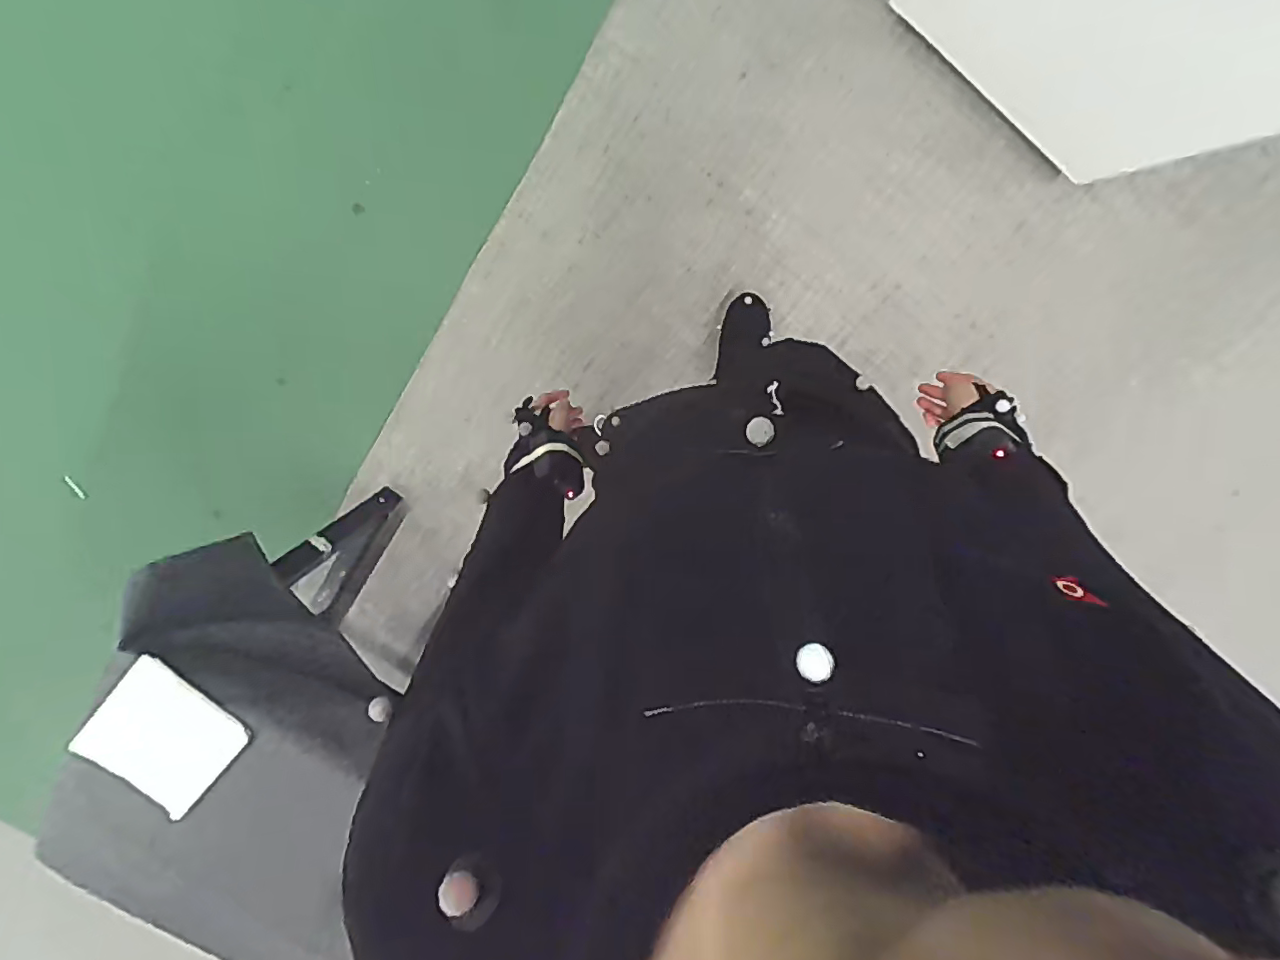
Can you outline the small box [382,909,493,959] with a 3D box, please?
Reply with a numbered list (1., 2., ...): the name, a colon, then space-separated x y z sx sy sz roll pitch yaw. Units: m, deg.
1. small box: -0.355 0.841 0.862 0.168 0.176 0.179 25 111 -2
